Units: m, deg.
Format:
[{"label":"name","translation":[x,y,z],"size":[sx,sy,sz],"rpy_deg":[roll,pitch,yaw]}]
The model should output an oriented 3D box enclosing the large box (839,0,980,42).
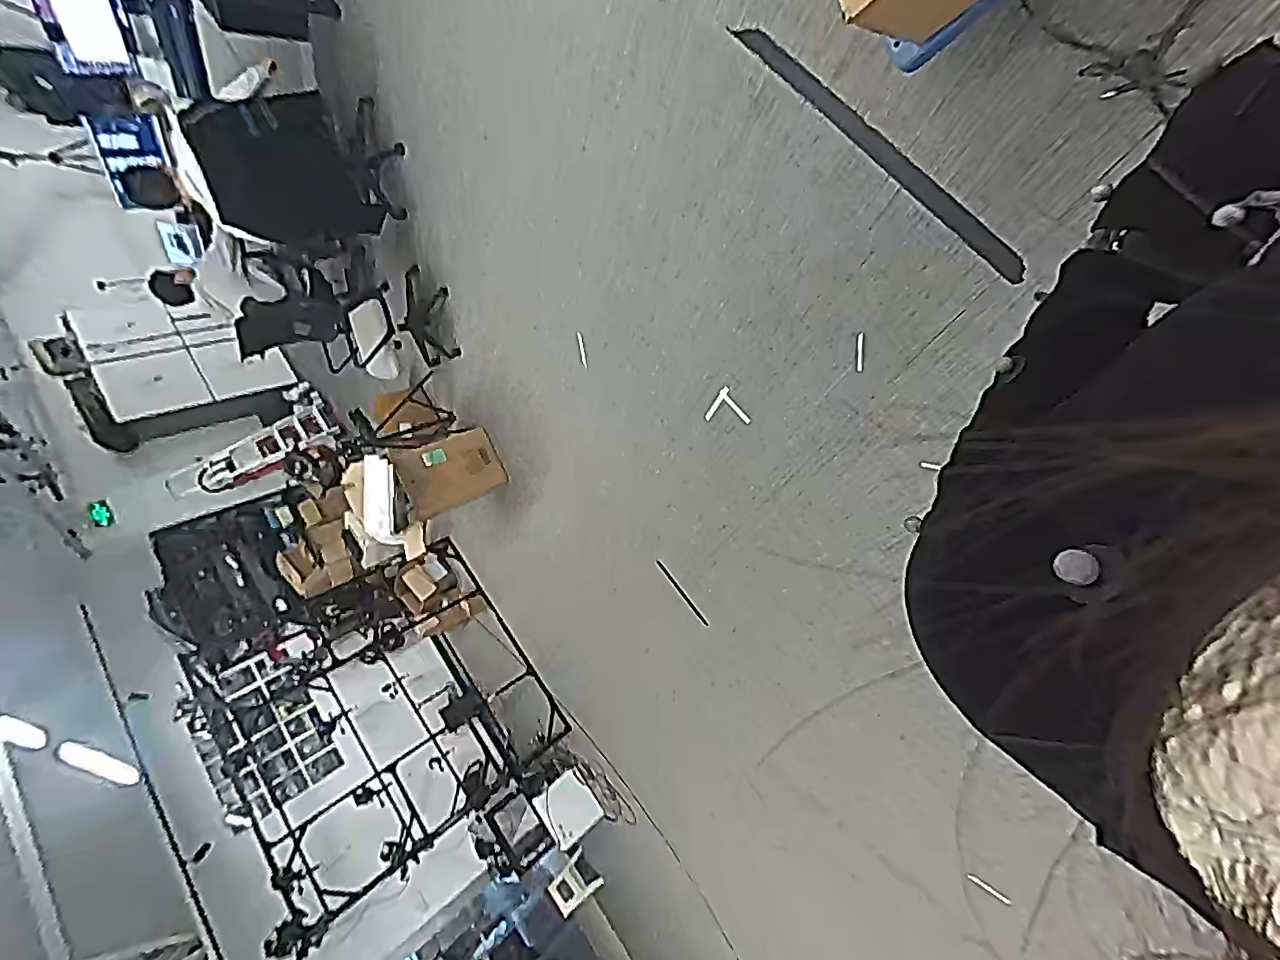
[{"label":"large box","translation":[0.499,-0.945,0.776],"size":[0.408,0.320,0.320],"rpy_deg":[-11,102,52]}]
